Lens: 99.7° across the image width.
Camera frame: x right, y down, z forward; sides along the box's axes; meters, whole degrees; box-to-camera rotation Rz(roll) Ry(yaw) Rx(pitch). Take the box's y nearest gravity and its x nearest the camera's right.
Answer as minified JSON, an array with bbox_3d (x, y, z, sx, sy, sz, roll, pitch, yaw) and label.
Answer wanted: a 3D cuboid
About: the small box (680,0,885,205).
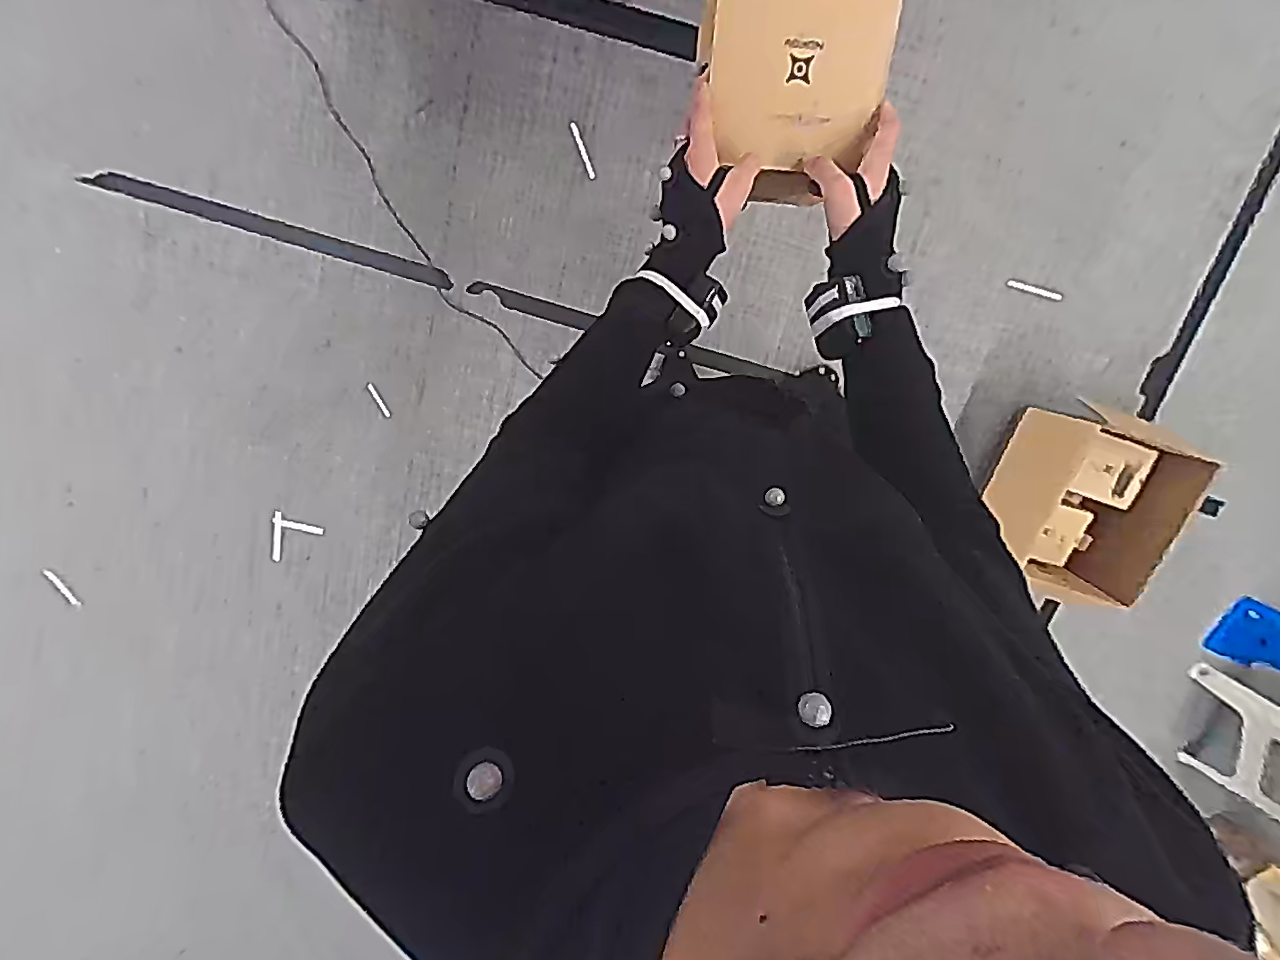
[{"bbox_3d":[0.134,-0.409,0.574,0.168,0.176,0.179,3,107,-1],"label":"small box"}]
